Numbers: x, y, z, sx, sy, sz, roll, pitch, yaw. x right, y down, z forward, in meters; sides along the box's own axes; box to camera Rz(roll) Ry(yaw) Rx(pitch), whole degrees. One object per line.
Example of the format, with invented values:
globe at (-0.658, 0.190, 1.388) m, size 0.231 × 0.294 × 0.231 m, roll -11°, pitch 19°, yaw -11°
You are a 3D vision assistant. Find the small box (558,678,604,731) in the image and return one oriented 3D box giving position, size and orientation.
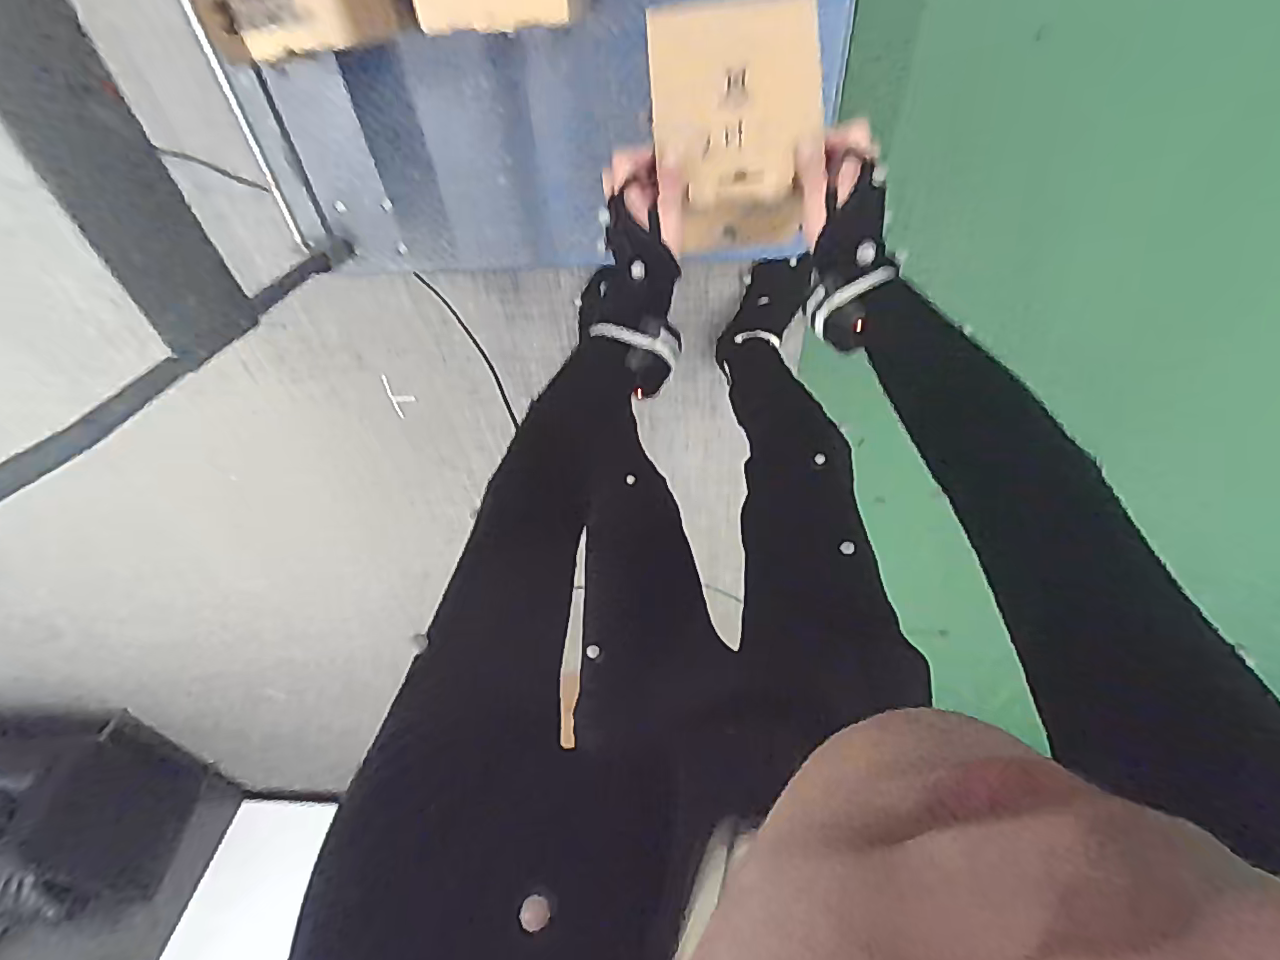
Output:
small box at (-0.243, 0.950, 2.276) m, size 0.179 × 0.176 × 0.168 m, roll 4°, pitch 132°, yaw 2°

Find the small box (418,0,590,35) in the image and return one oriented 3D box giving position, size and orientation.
small box at (-0.151, -0.604, 0.585) m, size 0.168 × 0.176 × 0.179 m, roll 0°, pitch 134°, yaw 5°

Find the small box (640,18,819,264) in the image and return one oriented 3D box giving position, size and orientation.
small box at (0.093, -0.364, 0.607) m, size 0.168 × 0.176 × 0.179 m, roll 4°, pitch 92°, yaw 6°
